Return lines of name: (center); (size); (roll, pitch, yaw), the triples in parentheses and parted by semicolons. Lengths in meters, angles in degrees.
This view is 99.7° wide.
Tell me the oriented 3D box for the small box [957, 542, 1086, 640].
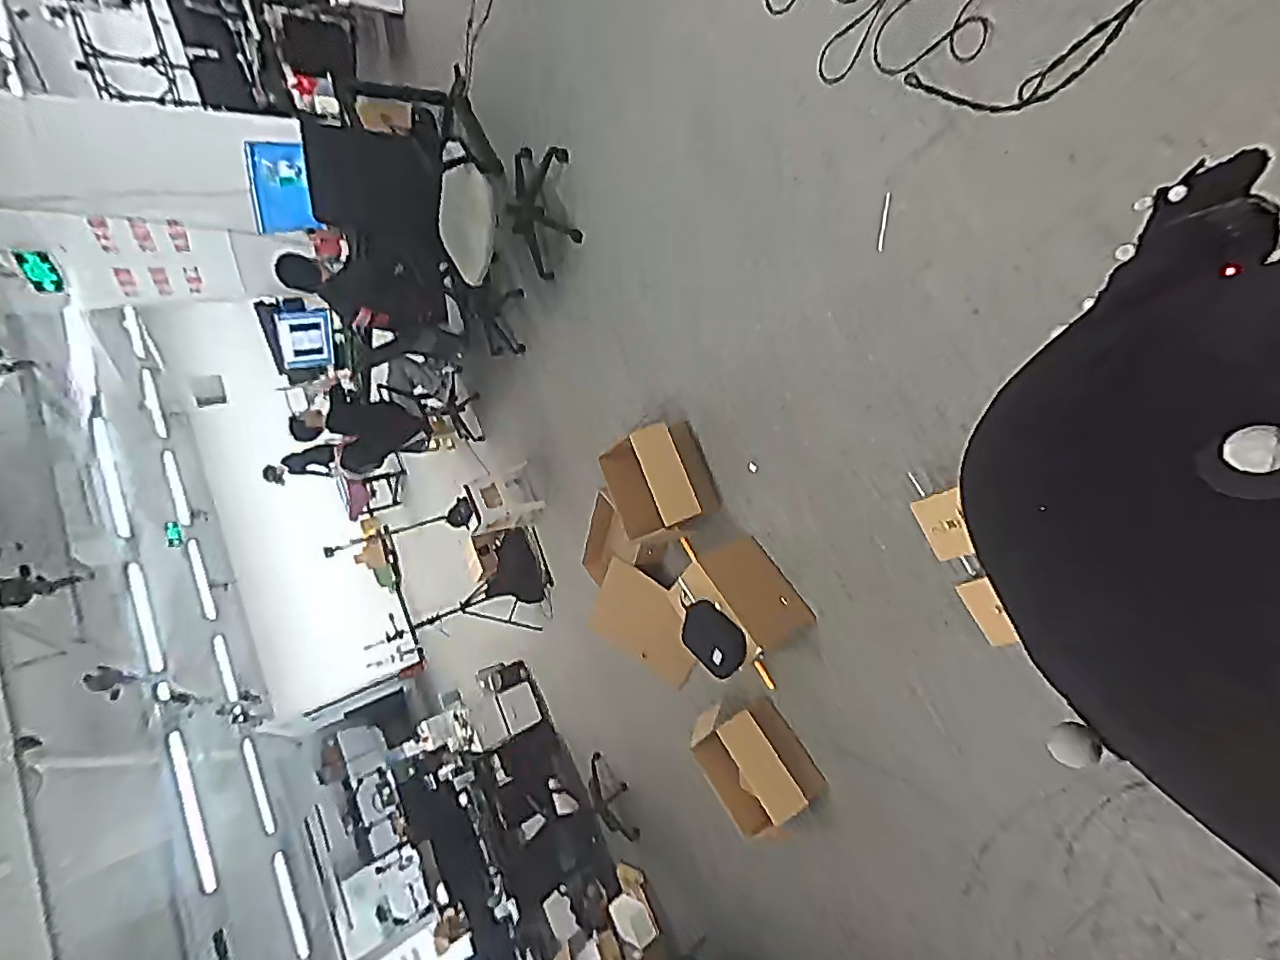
small box: (0.948, 0.275, 1.345); (0.168, 0.176, 0.179); (62, 146, 13)
